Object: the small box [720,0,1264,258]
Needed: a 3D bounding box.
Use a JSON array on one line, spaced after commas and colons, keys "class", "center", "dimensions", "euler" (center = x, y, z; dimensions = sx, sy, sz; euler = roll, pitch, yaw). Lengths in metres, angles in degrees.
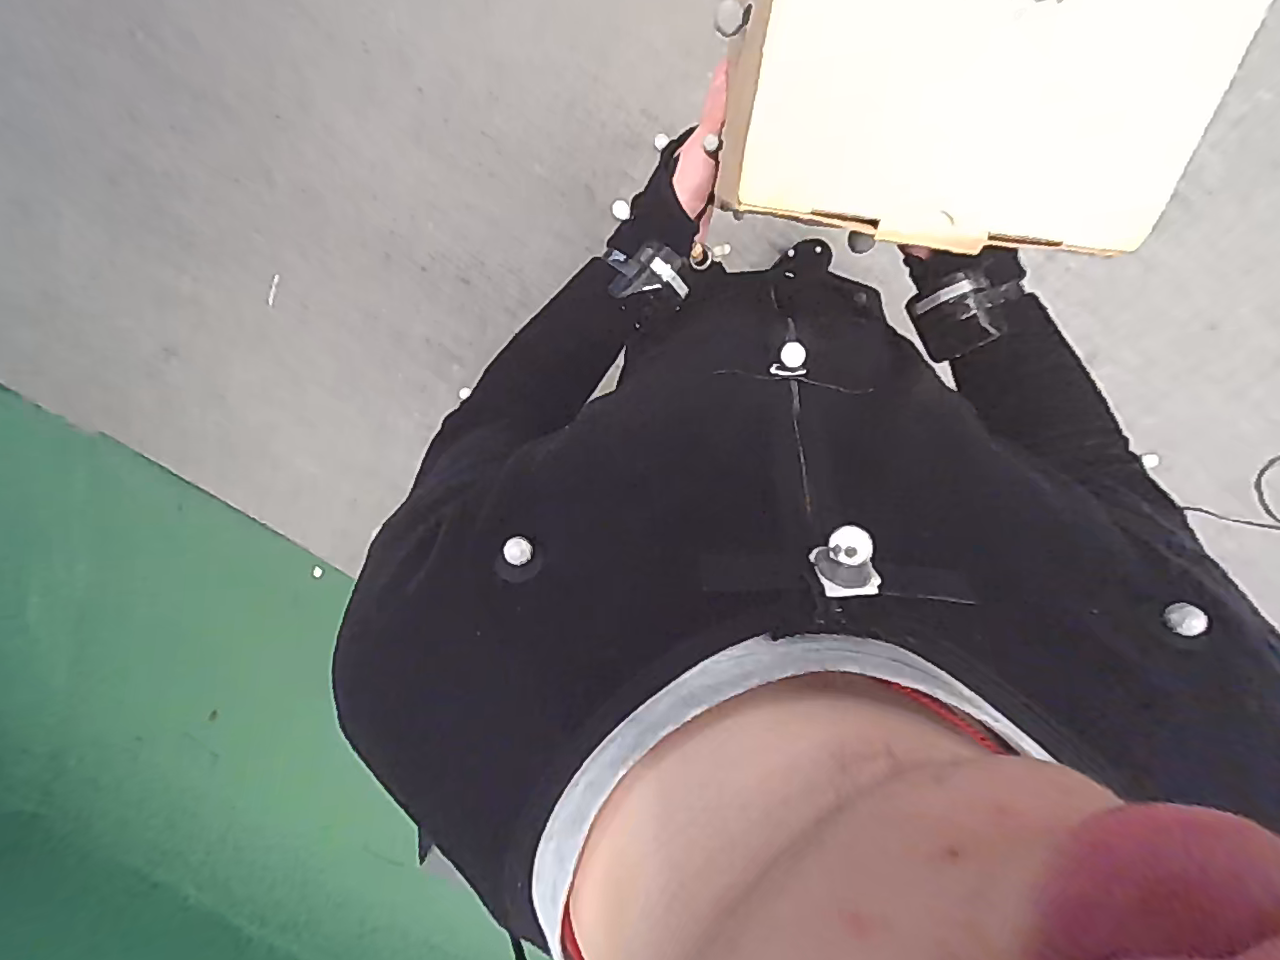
[{"class": "small box", "center": [0.133, -0.217, 0.246], "dimensions": [0.168, 0.176, 0.179], "euler": [8, 121, 1]}]
